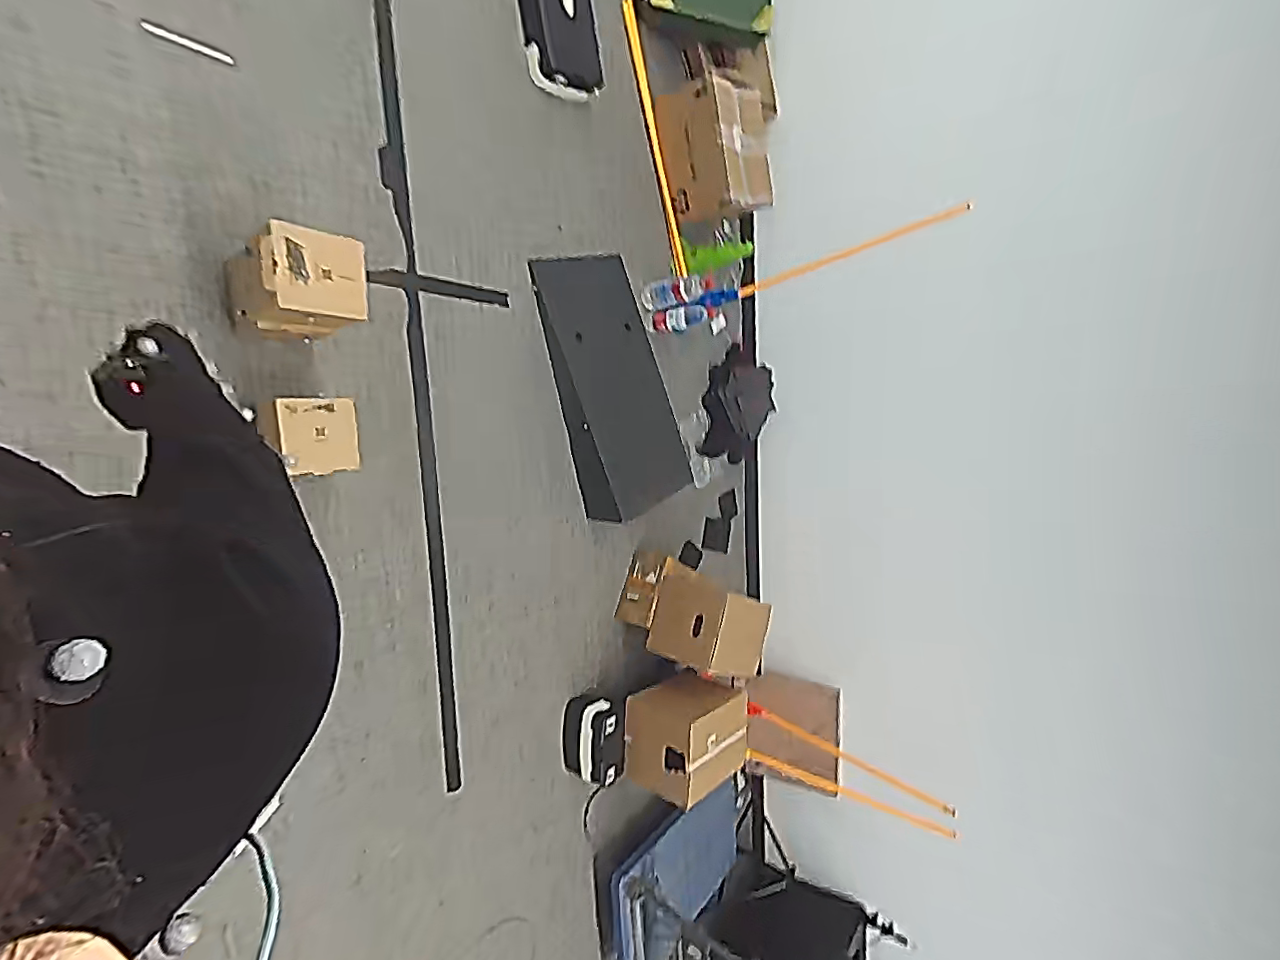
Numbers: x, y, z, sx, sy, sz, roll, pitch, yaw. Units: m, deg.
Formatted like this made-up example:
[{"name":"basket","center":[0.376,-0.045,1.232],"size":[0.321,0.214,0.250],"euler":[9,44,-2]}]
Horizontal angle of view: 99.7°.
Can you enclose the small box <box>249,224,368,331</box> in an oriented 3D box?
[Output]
[{"name":"small box","center":[-0.702,-0.414,1.141],"size":[0.179,0.176,0.168],"euler":[-7,99,-51]}]

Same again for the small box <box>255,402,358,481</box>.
[{"name":"small box","center":[-0.802,-0.098,1.300],"size":[0.168,0.176,0.179],"euler":[-9,100,-49]}]

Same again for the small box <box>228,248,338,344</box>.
[{"name":"small box","center":[-0.825,-0.413,1.250],"size":[0.168,0.176,0.179],"euler":[-11,101,-49]}]
